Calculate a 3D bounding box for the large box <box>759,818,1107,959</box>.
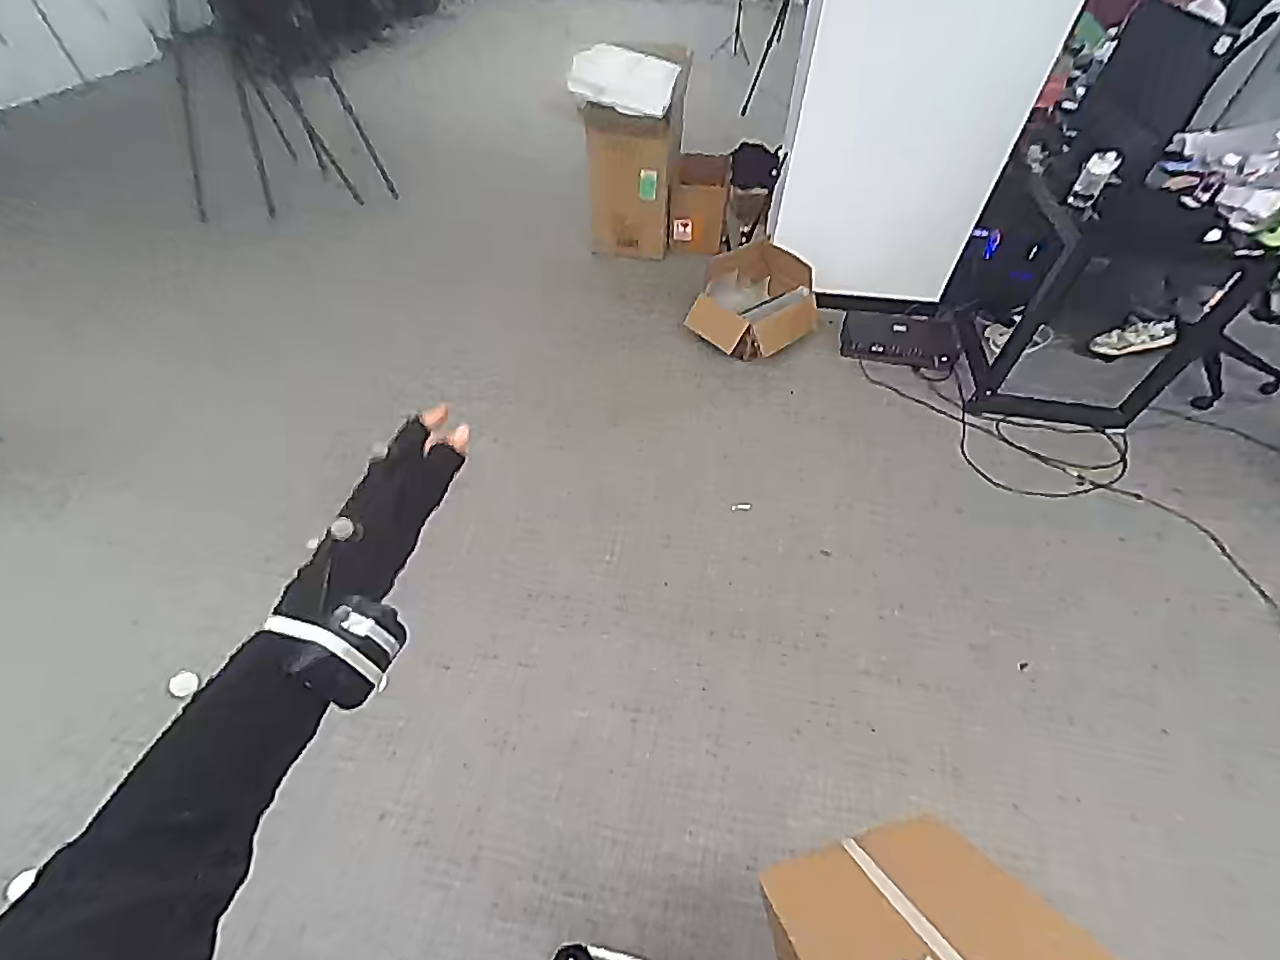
[{"bbox_3d":[0.388,0.714,0.667,0.320,0.408,0.320,-13,87,-7],"label":"large box"}]
